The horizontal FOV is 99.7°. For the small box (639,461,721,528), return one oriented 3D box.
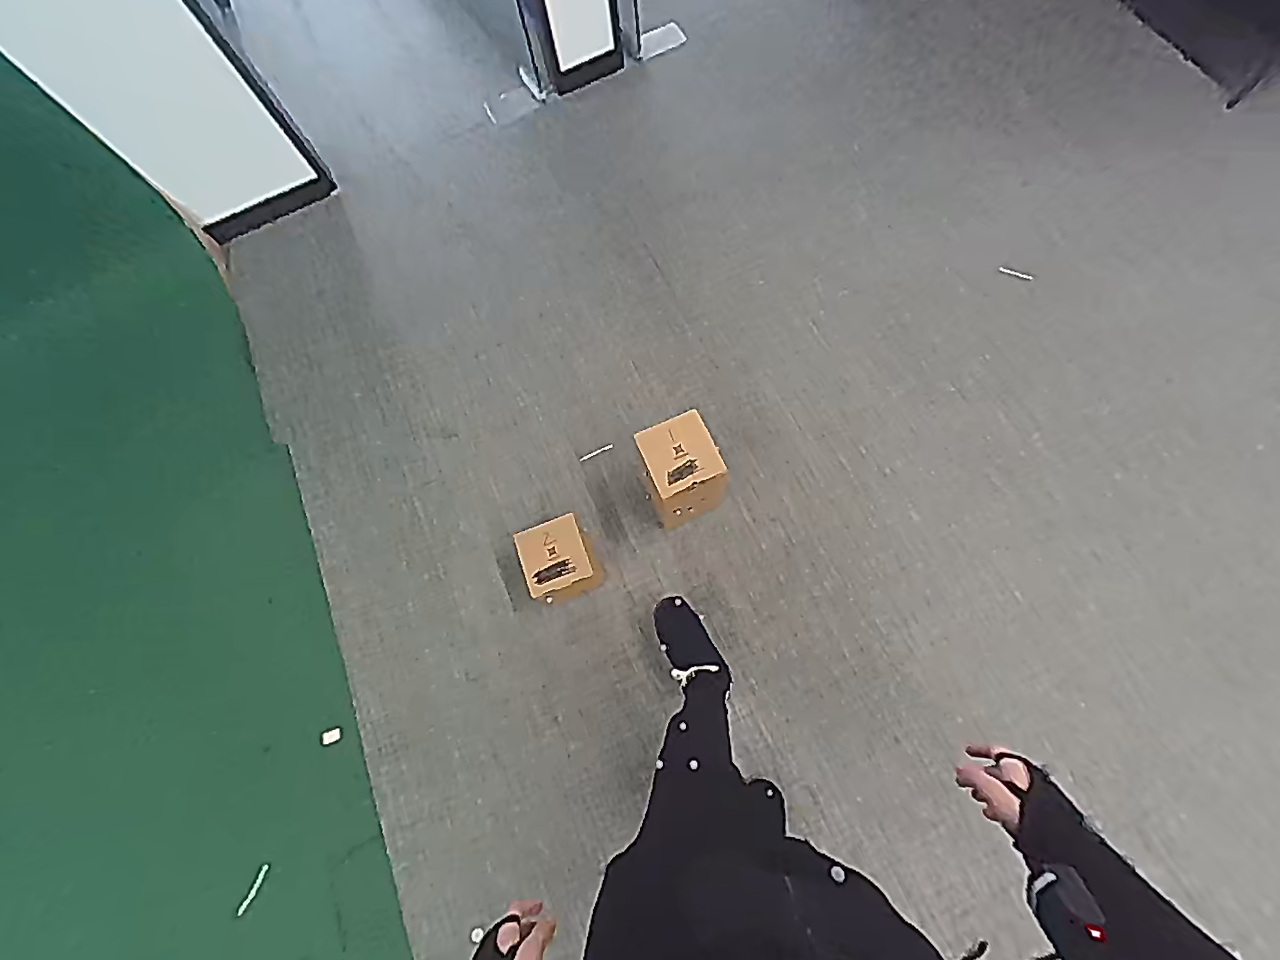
[{"bbox_3d":[0.115,0.015,1.487,0.179,0.176,0.168,-24,71,-3],"label":"small box"}]

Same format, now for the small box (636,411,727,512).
[{"bbox_3d":[0.103,-0.035,1.330,0.168,0.176,0.179,-23,70,-2],"label":"small box"}]
